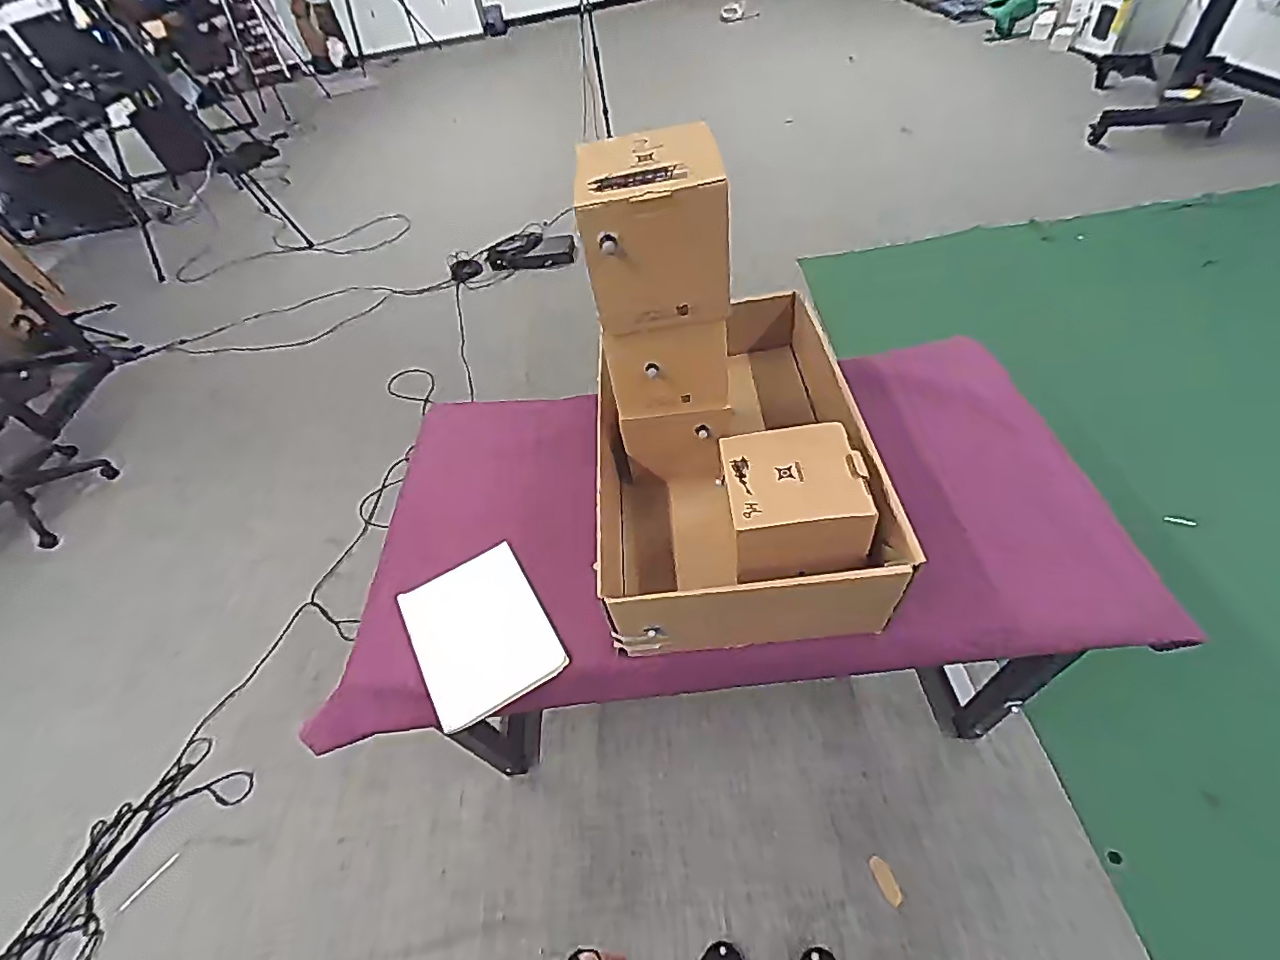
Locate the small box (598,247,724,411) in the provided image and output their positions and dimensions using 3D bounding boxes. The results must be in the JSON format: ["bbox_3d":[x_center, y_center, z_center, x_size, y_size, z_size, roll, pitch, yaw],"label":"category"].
[{"bbox_3d":[0.035,-0.218,0.815,0.168,0.176,0.179,-6,51,6],"label":"small box"}]
